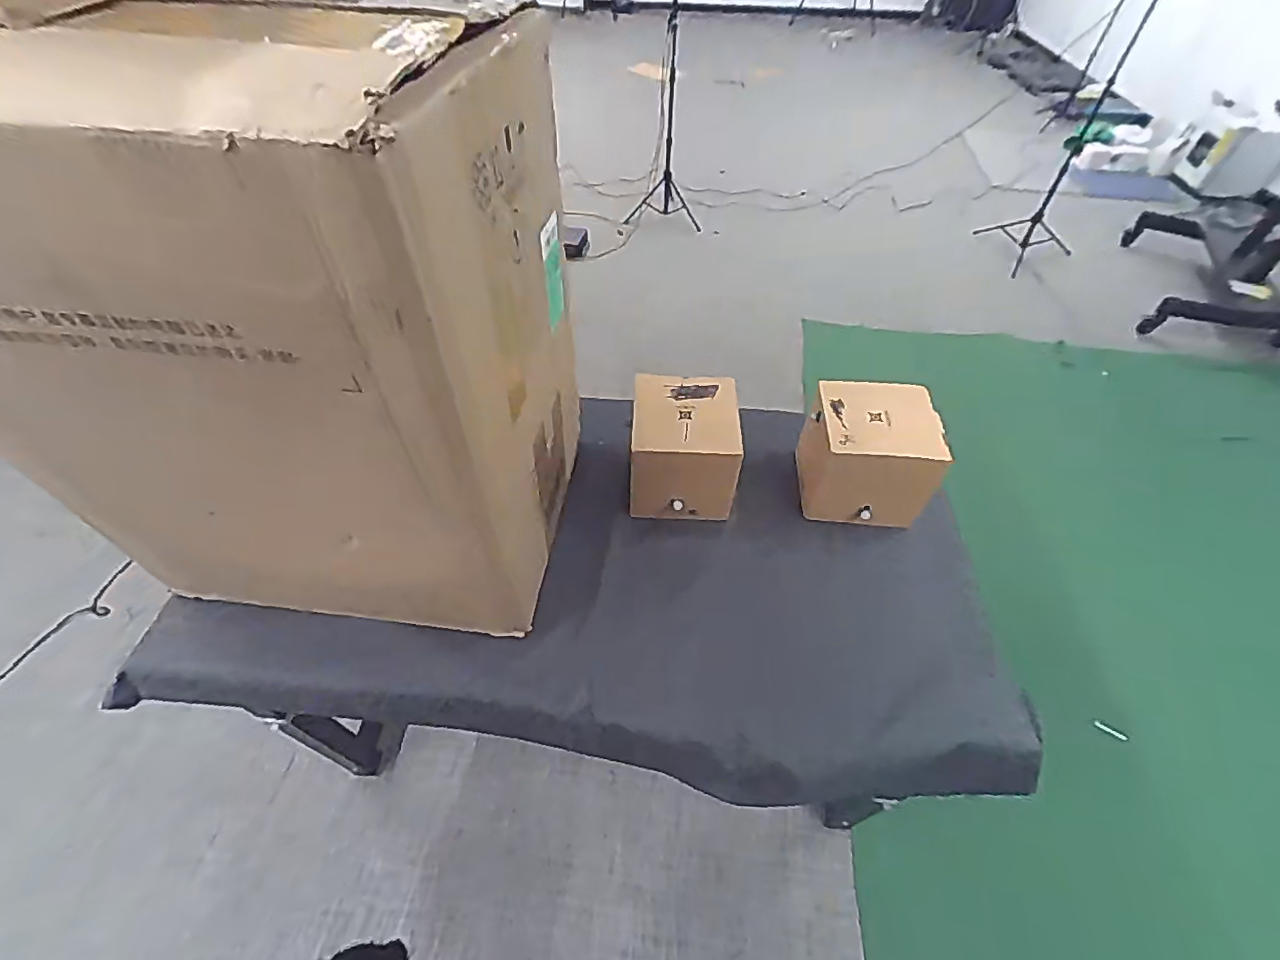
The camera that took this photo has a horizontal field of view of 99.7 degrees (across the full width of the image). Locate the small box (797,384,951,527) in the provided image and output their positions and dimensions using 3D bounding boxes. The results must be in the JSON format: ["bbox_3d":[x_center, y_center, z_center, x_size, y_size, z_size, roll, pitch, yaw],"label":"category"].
[{"bbox_3d":[0.374,-0.037,0.901,0.179,0.176,0.168,5,50,3],"label":"small box"}]

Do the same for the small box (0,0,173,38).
[{"bbox_3d":[-0.469,-0.430,0.366,0.179,0.176,0.168,11,56,6],"label":"small box"}]
